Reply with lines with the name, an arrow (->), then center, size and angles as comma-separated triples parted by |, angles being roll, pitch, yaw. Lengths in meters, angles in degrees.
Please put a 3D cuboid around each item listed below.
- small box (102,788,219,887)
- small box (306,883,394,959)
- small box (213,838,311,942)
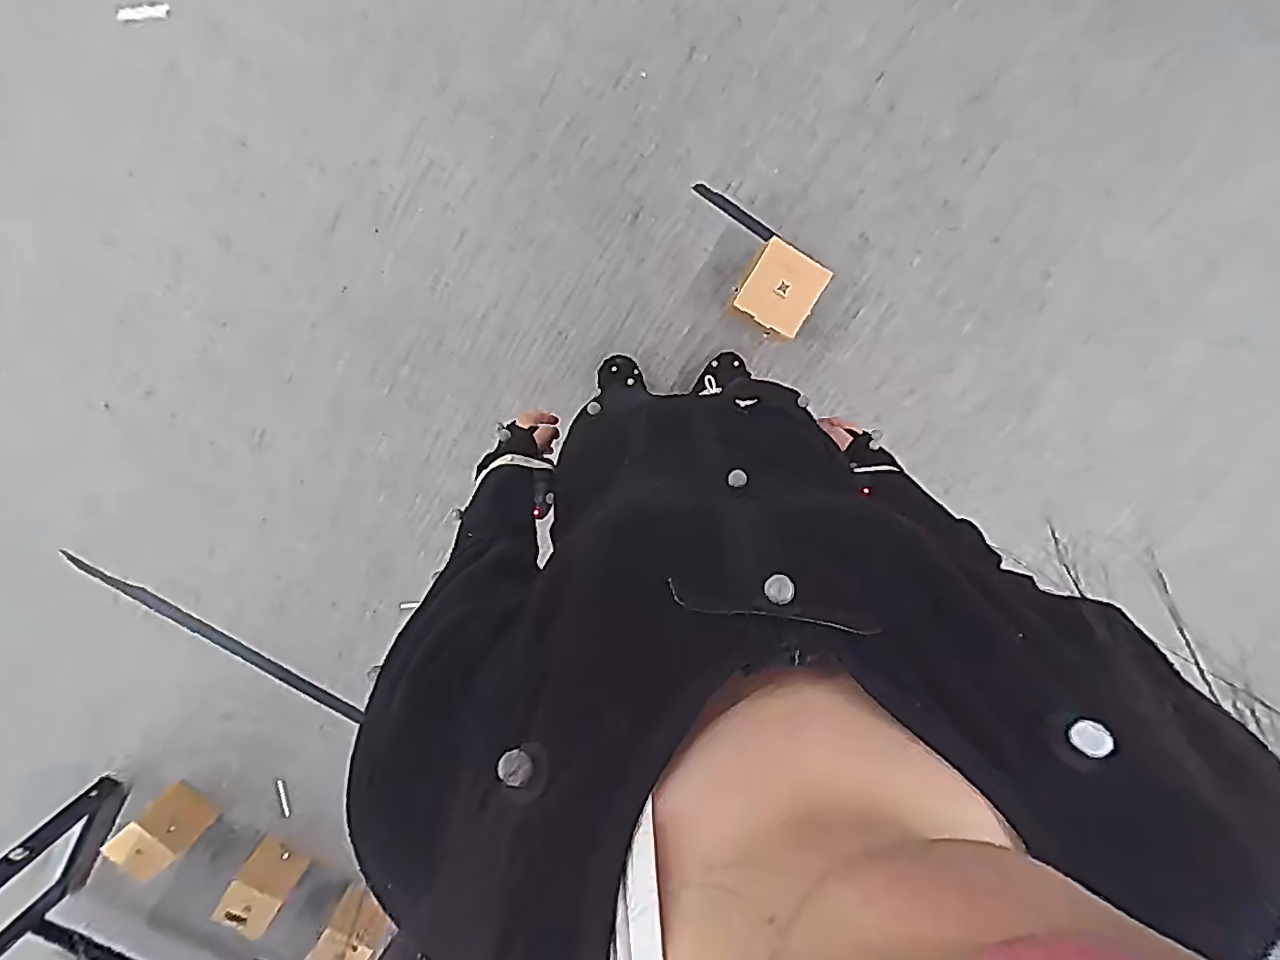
small box -> -1.493, 1.106, 1.695 | 0.168, 0.176, 0.179 | -39, 101, 8
small box -> -0.946, 1.491, 1.780 | 0.168, 0.176, 0.179 | 34, 102, -7
small box -> -1.205, 1.313, 1.739 | 0.168, 0.176, 0.179 | 32, 101, -7
